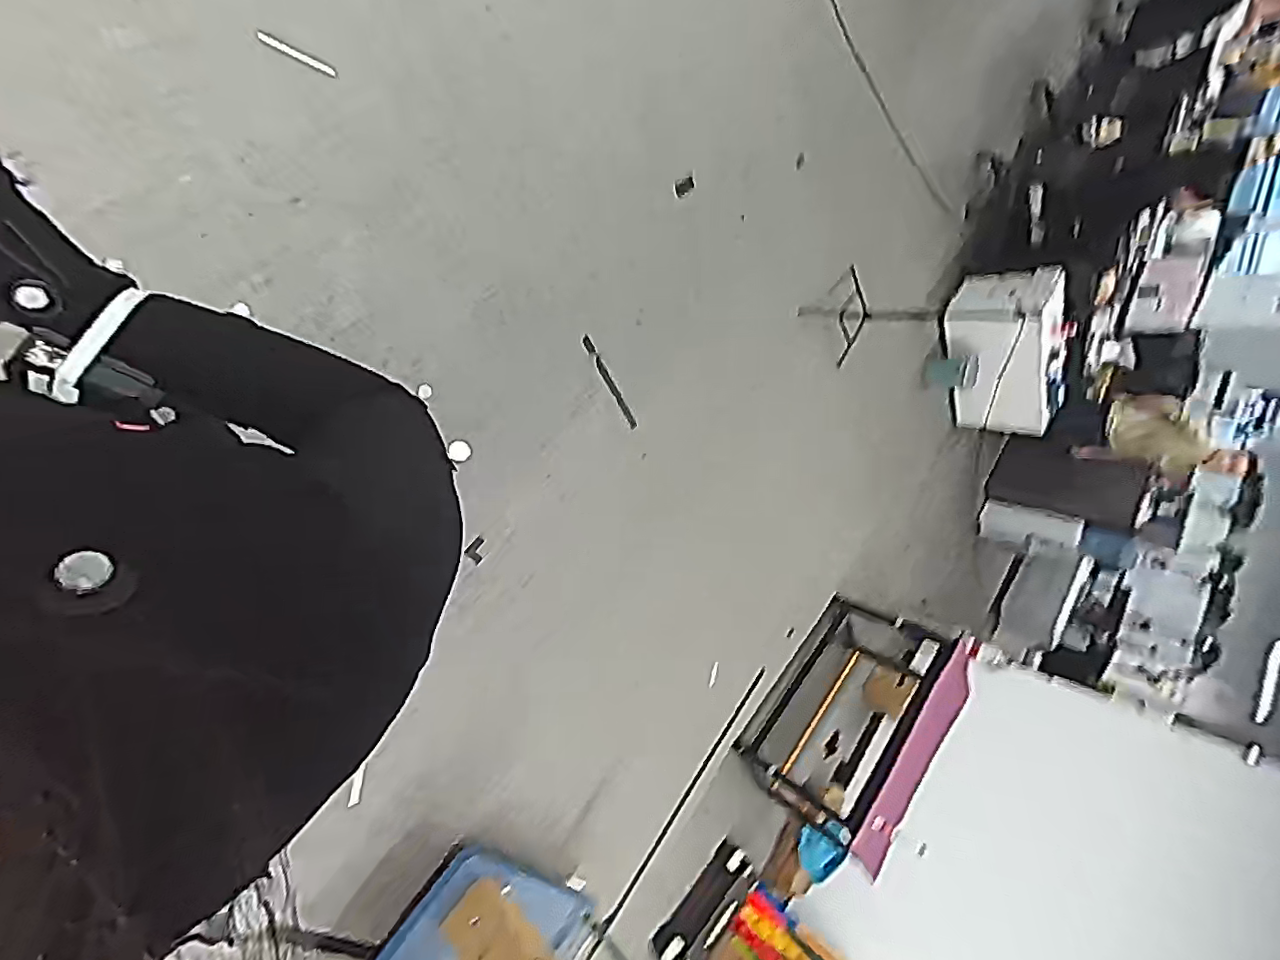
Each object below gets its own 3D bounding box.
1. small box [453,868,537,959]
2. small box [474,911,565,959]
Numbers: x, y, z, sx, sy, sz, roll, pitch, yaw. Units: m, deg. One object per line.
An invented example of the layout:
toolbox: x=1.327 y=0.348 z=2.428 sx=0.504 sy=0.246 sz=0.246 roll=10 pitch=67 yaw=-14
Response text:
small box: x=-0.465 y=1.387 z=1.707 sx=0.179 sy=0.176 sz=0.168 roll=-47 pitch=130 yaw=-23
small box: x=-0.352 y=1.421 z=1.592 sx=0.168 sy=0.176 sz=0.179 roll=-49 pitch=131 yaw=-21
